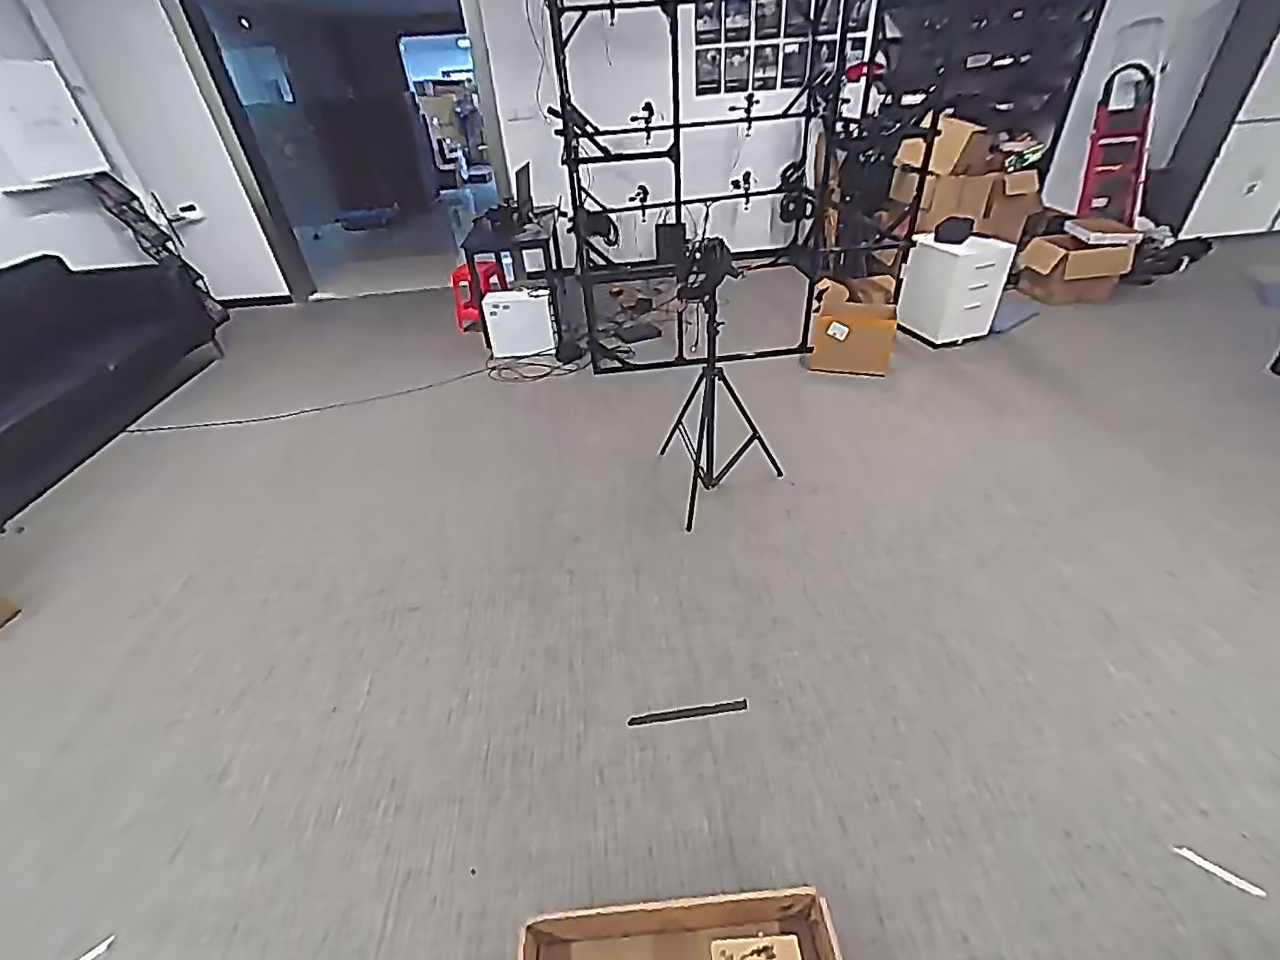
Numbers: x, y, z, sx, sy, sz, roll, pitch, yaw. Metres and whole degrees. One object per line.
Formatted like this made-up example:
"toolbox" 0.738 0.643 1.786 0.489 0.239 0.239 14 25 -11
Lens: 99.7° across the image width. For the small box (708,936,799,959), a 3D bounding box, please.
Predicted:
"small box" 0.220 0.985 1.008 0.168 0.176 0.179 -4 38 1
